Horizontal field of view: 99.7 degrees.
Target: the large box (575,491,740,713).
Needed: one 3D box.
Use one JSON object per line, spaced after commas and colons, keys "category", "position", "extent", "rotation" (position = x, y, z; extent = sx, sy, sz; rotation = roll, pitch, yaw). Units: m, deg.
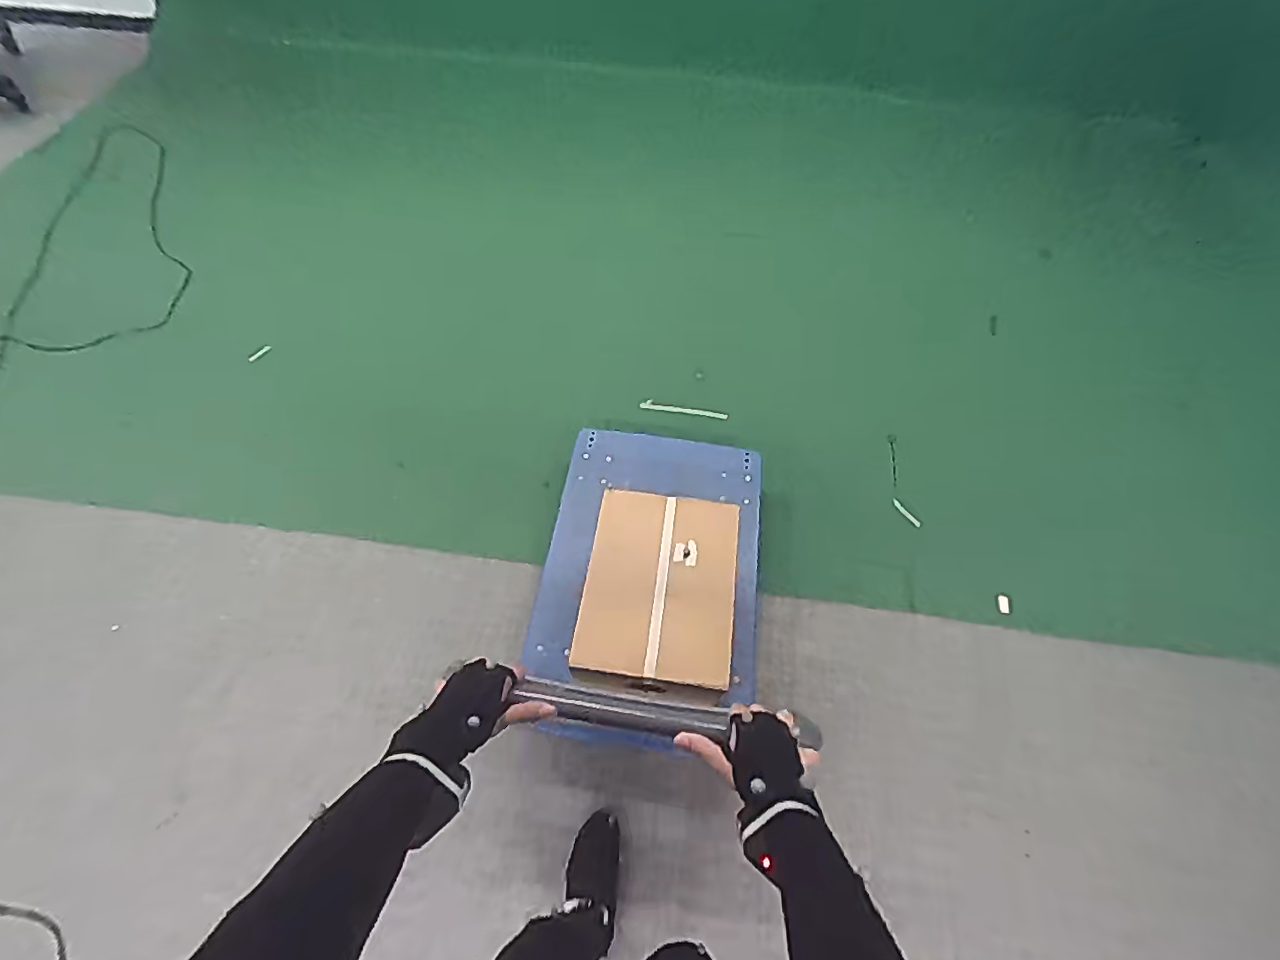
{"category": "large box", "position": [0.047, 0.289, 1.251], "extent": [0.320, 0.320, 0.408], "rotation": [8, 58, 3]}
